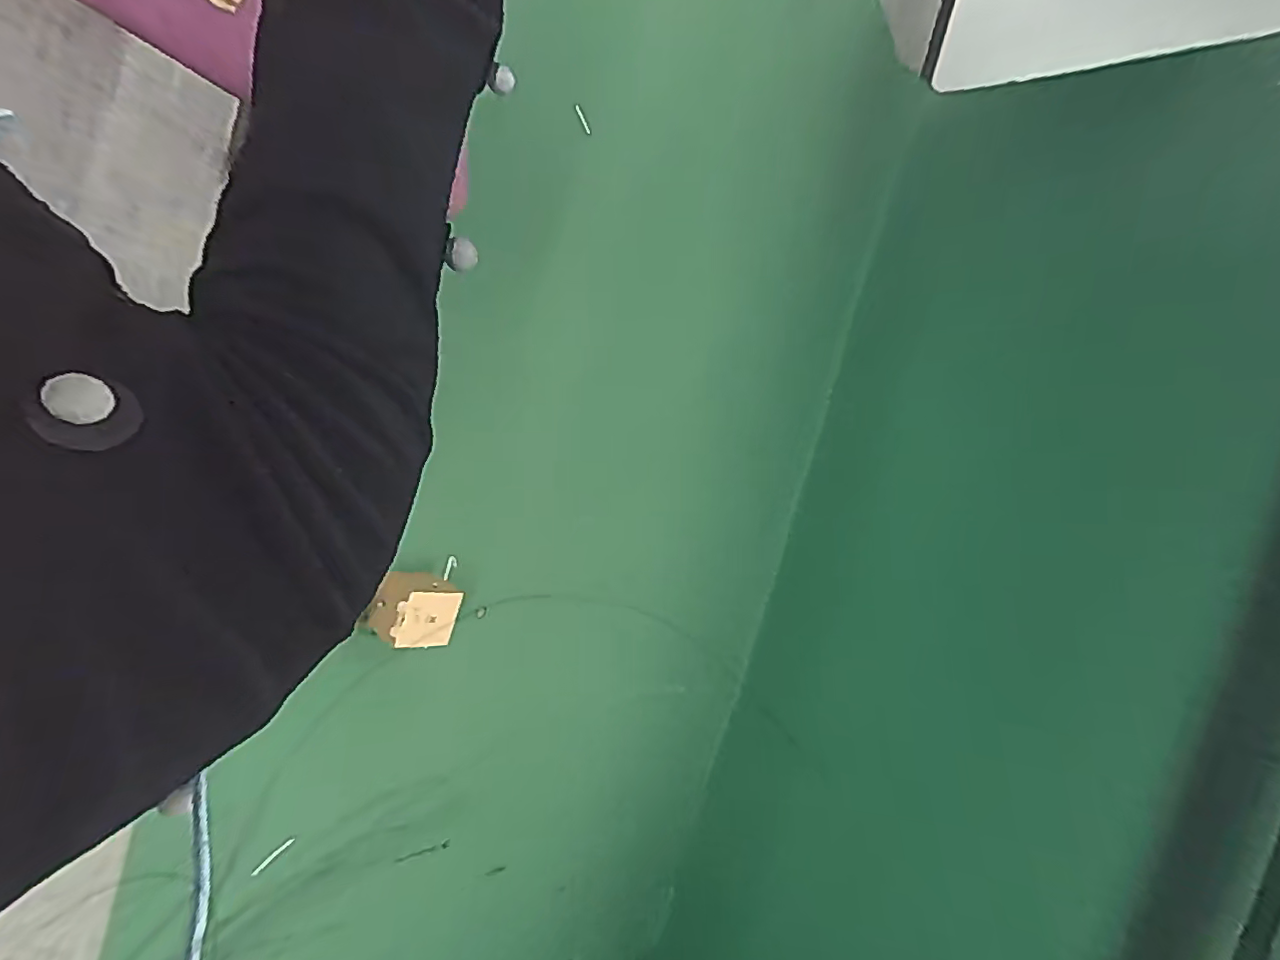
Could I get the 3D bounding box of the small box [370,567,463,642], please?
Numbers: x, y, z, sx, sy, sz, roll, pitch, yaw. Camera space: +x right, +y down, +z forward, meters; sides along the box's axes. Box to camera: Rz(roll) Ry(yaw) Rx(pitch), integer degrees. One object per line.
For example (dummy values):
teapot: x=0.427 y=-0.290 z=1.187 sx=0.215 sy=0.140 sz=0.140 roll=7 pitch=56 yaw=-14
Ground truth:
small box: x=-0.668 y=0.367 z=1.614 sx=0.179 sy=0.176 sz=0.168 roll=18 pitch=91 yaw=-51
